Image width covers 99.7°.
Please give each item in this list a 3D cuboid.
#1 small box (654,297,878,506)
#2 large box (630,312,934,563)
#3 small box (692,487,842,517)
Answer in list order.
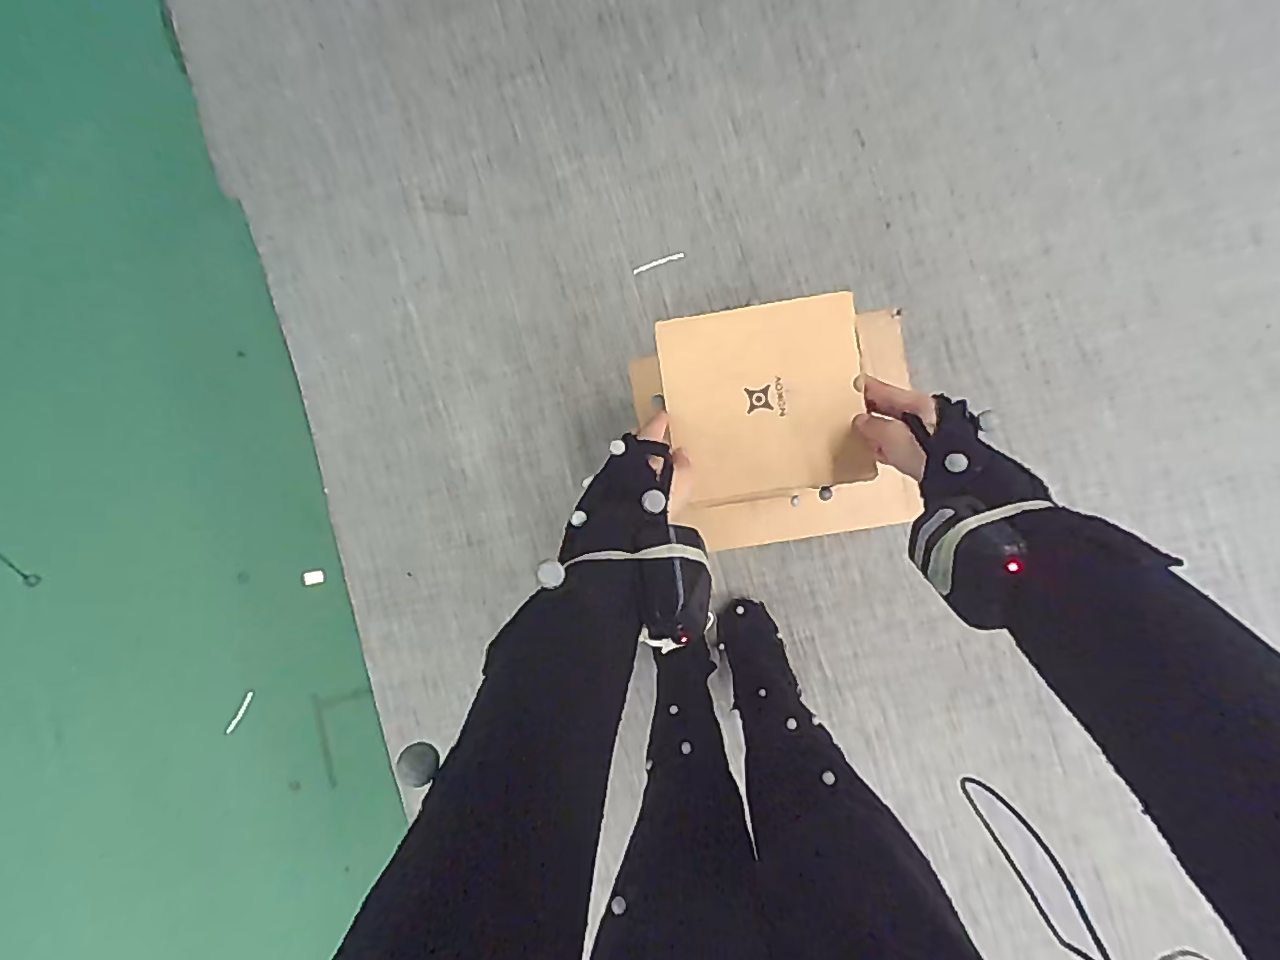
[{"bbox_3d":[0.116,-0.065,0.551,0.179,0.176,0.168,-8,88,4],"label":"small box"},{"bbox_3d":[0.220,-0.056,0.952,0.408,0.320,0.320,-10,89,6],"label":"large box"},{"bbox_3d":[0.148,-0.047,0.716,0.179,0.176,0.168,-9,86,8],"label":"small box"}]
